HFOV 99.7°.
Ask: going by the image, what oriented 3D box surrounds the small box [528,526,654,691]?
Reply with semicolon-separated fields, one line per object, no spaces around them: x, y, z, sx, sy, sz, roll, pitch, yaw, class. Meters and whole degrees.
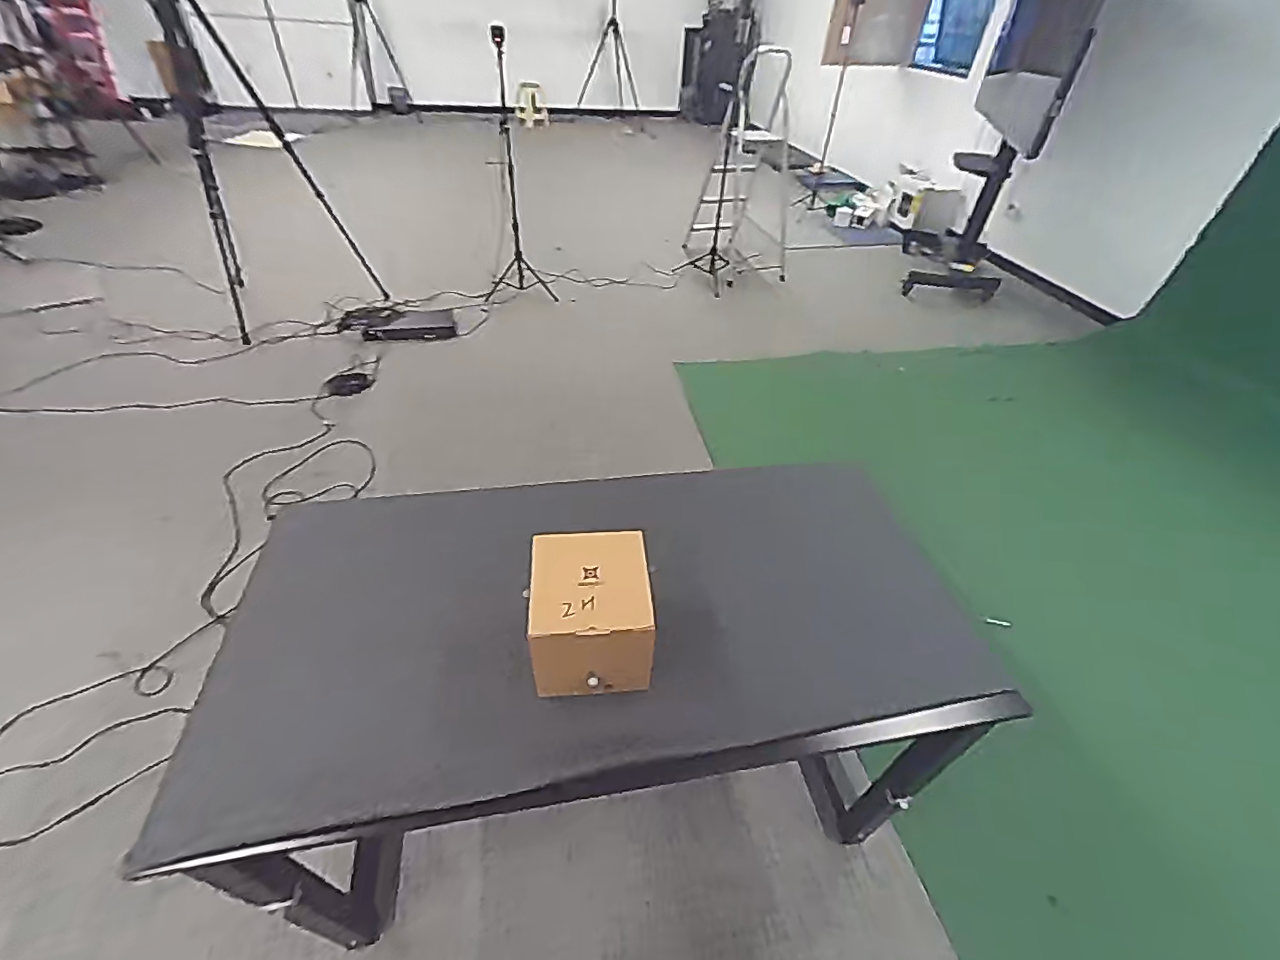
-0.074;0.189;0.805;0.168;0.176;0.179;-2;42;-6;small box
